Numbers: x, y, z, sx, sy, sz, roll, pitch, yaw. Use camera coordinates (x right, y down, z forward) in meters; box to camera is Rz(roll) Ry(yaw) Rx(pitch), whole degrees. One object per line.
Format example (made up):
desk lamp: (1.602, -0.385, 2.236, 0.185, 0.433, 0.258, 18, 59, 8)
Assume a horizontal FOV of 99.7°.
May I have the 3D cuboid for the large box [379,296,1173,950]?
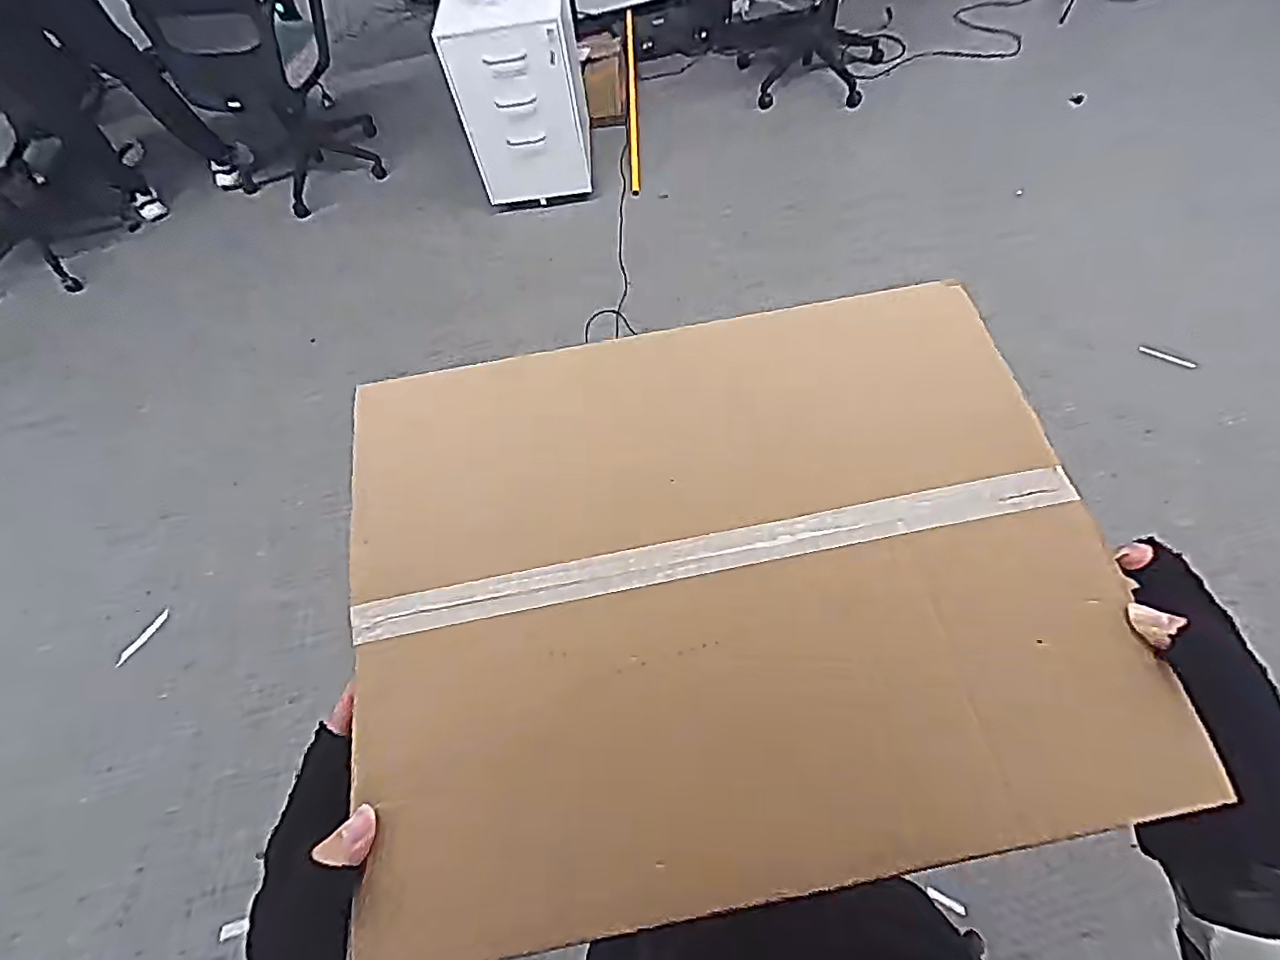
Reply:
large box: (0.050, 0.103, 0.455, 0.408, 0.320, 0.320, -11, 68, -2)
